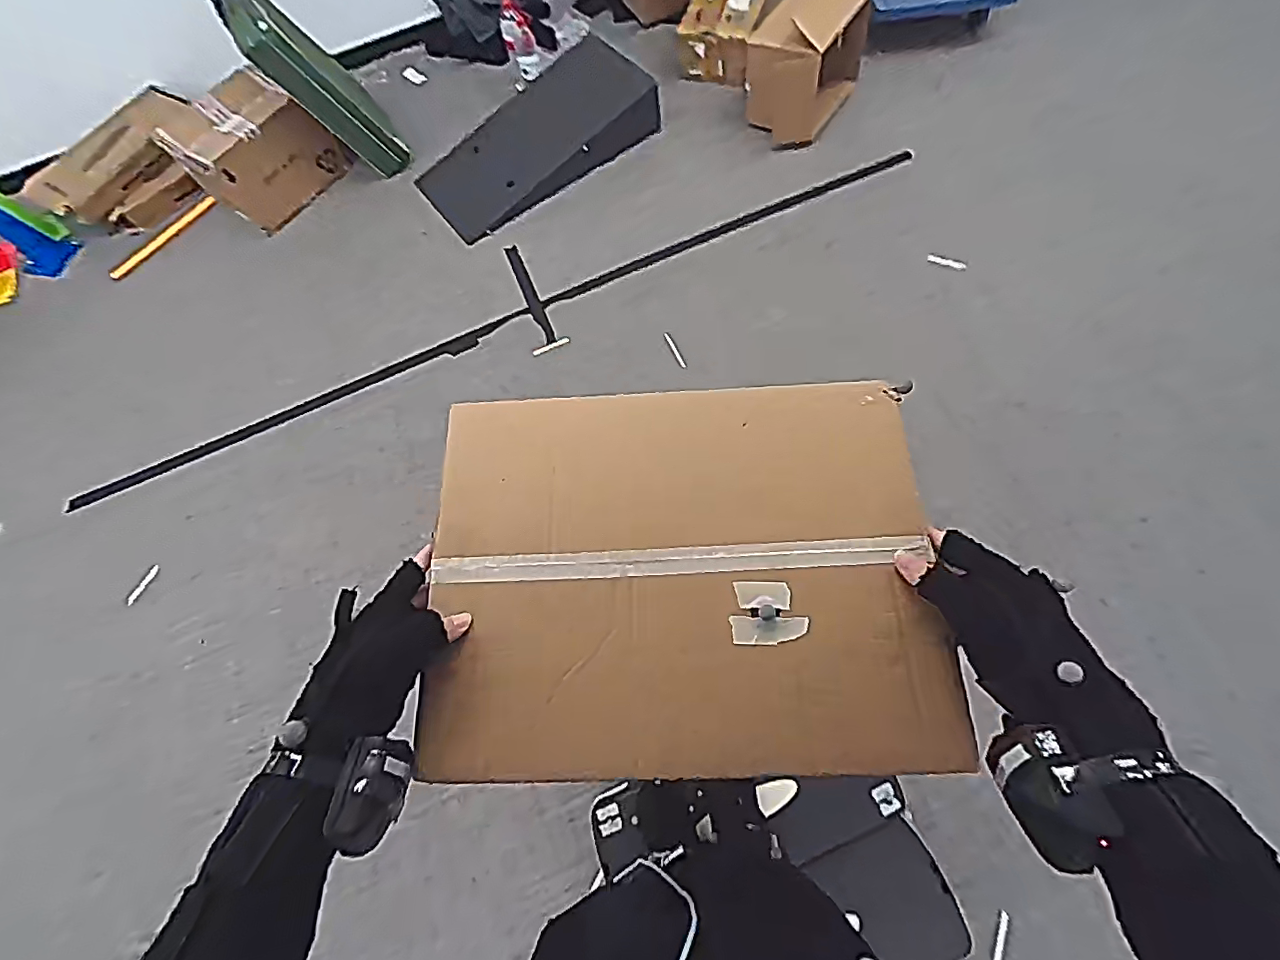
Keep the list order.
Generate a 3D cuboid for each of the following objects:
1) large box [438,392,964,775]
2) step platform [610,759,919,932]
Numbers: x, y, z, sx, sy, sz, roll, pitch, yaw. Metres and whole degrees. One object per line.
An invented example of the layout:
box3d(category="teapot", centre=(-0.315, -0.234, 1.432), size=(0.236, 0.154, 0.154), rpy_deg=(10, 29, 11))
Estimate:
box3d(category="large box", centre=(0.044, 0.124, 0.594), size=(0.408, 0.320, 0.320), rpy_deg=(-2, 70, 3))
box3d(category="step platform", centre=(0.276, 0.732, 1.263), size=(0.684, 0.204, 0.286), rpy_deg=(-24, 67, -5))
